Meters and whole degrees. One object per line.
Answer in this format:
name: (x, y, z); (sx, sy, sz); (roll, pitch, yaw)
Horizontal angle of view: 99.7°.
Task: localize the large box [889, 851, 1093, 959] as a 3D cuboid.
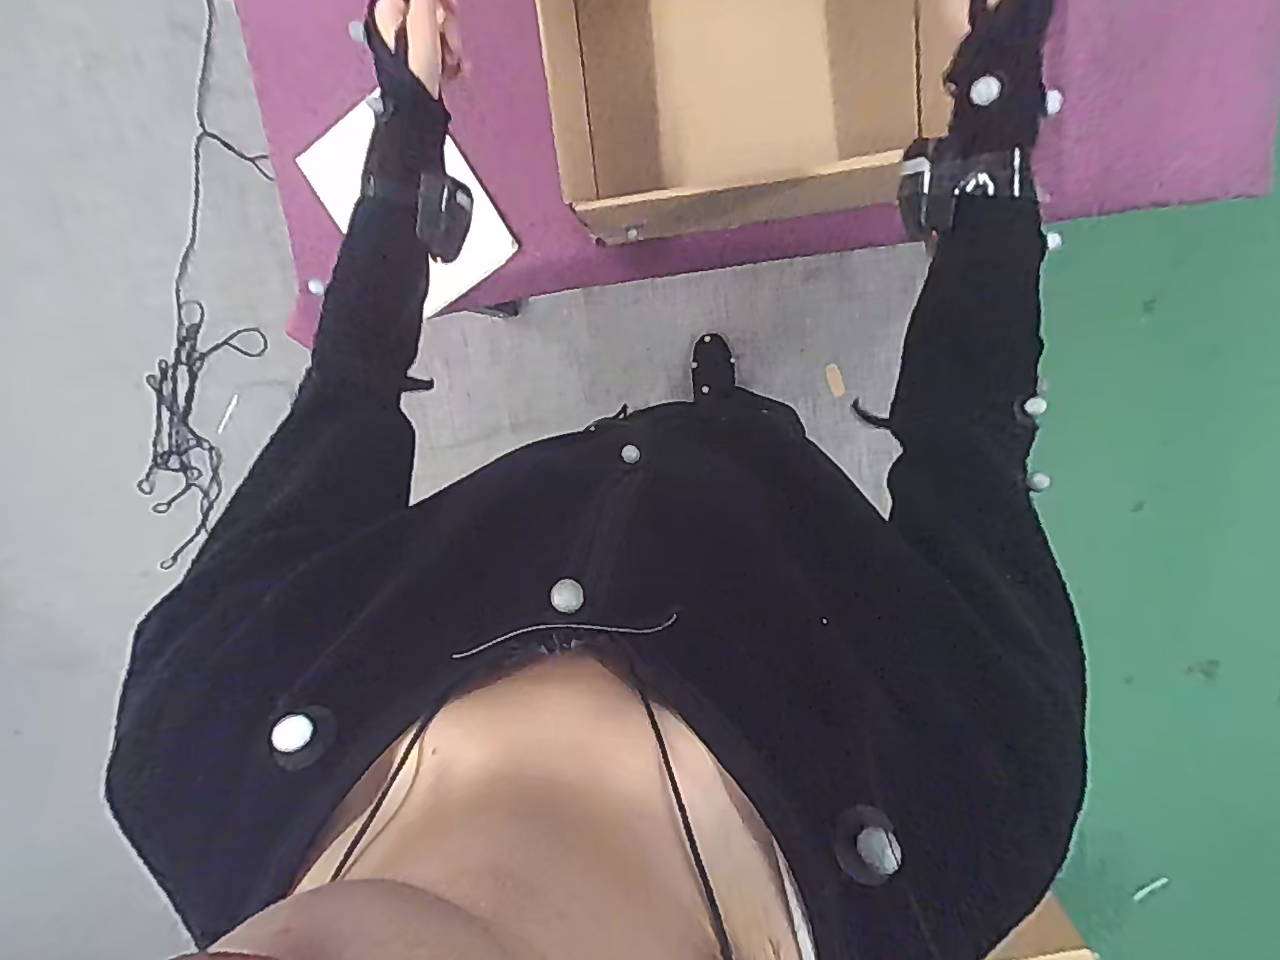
large box: (0.991, 1.336, 1.518); (0.408, 0.320, 0.320); (-21, 99, 9)
